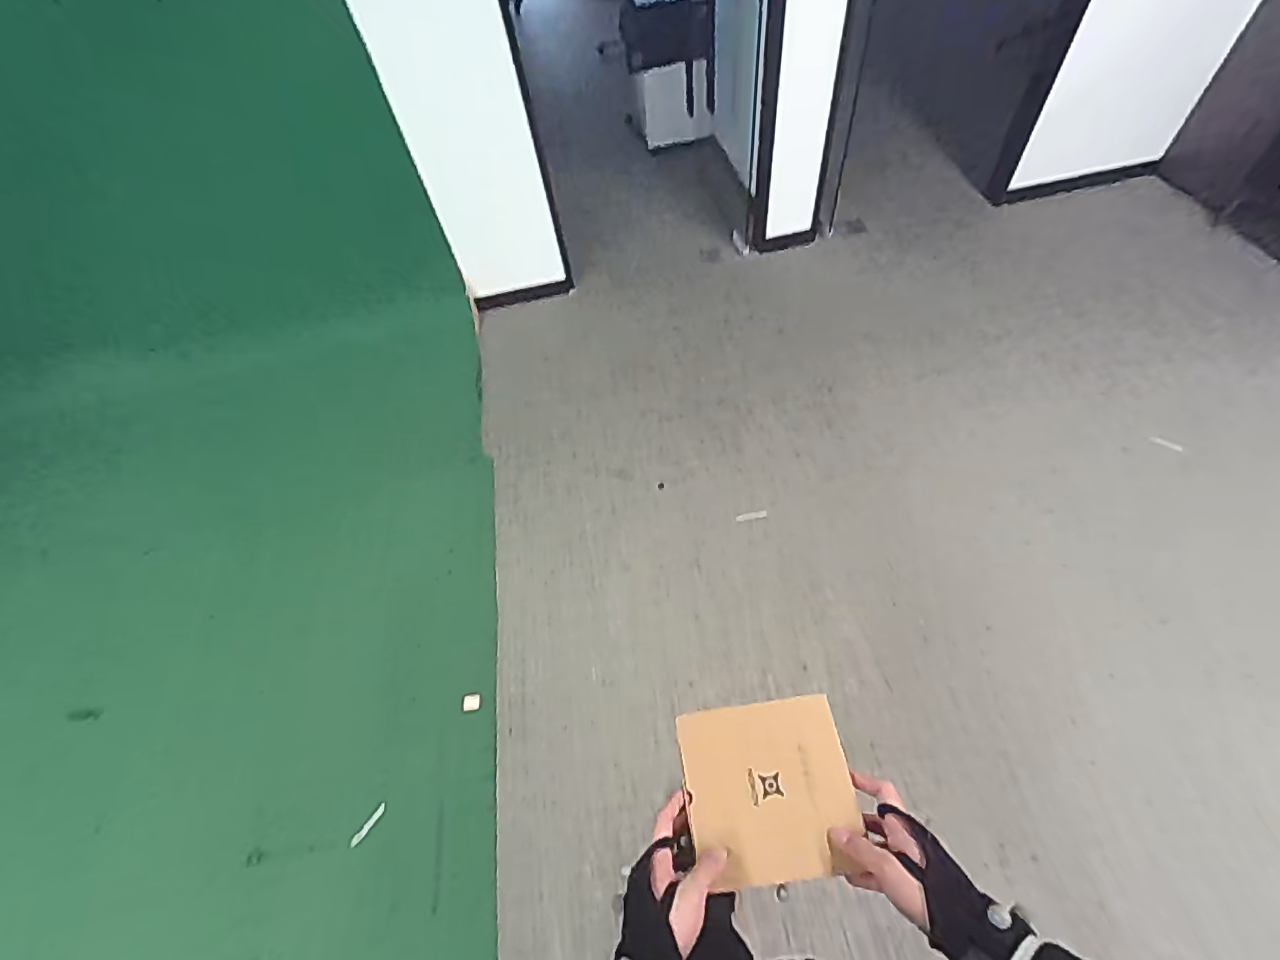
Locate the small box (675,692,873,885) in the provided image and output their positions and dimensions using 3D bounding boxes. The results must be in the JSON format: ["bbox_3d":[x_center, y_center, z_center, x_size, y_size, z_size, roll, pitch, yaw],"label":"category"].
[{"bbox_3d":[0.144,0.363,0.633,0.179,0.176,0.168,-9,55,2],"label":"small box"}]
